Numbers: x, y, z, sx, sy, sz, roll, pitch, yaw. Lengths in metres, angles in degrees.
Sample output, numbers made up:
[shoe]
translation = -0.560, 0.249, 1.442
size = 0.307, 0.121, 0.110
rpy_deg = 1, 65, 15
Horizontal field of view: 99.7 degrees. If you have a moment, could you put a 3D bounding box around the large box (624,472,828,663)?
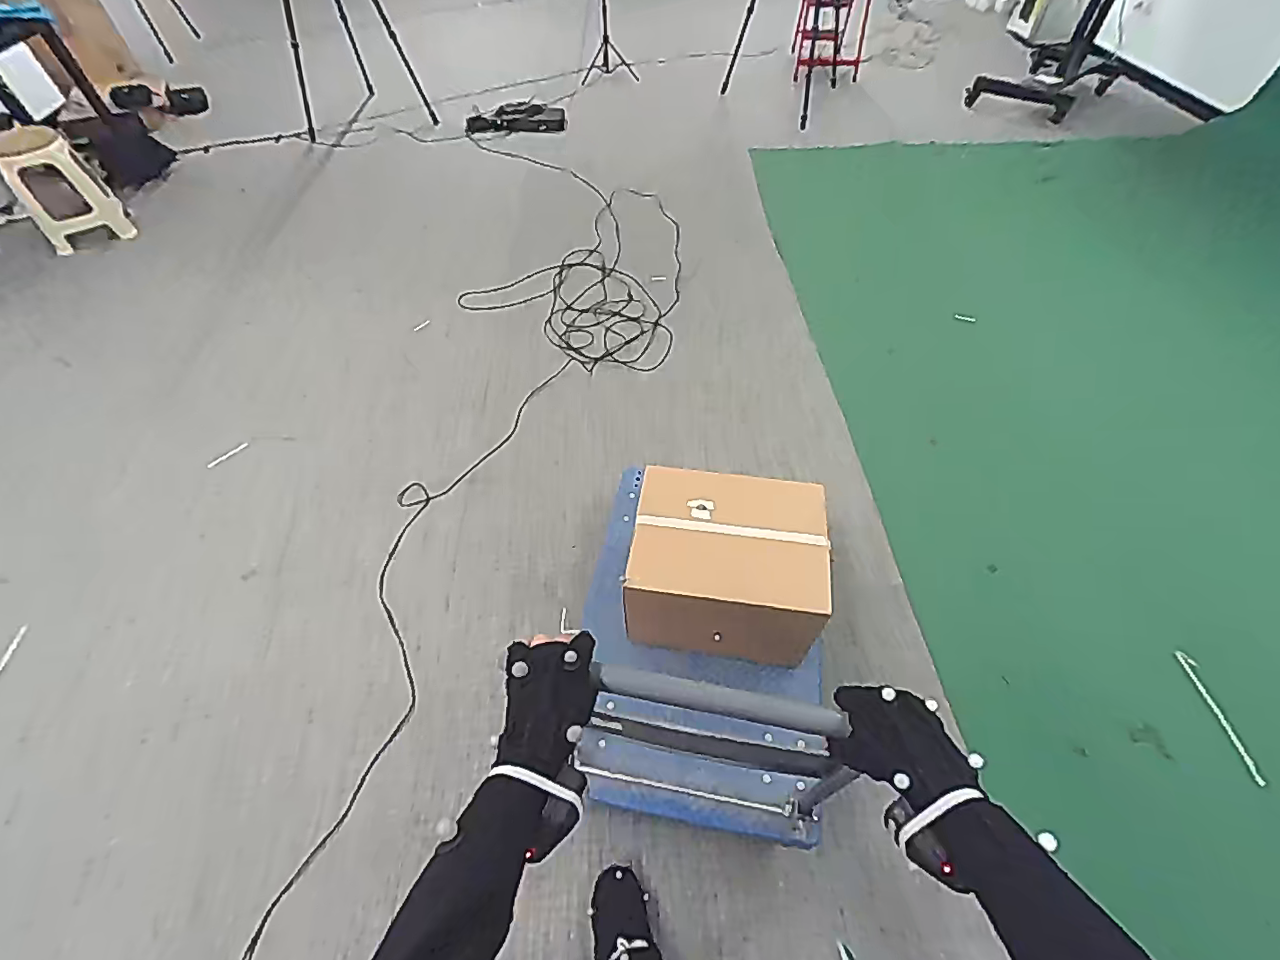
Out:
[large box]
translation = 0.190, 0.208, 1.259
size = 0.408, 0.320, 0.320
rpy_deg = 6, 52, 7
